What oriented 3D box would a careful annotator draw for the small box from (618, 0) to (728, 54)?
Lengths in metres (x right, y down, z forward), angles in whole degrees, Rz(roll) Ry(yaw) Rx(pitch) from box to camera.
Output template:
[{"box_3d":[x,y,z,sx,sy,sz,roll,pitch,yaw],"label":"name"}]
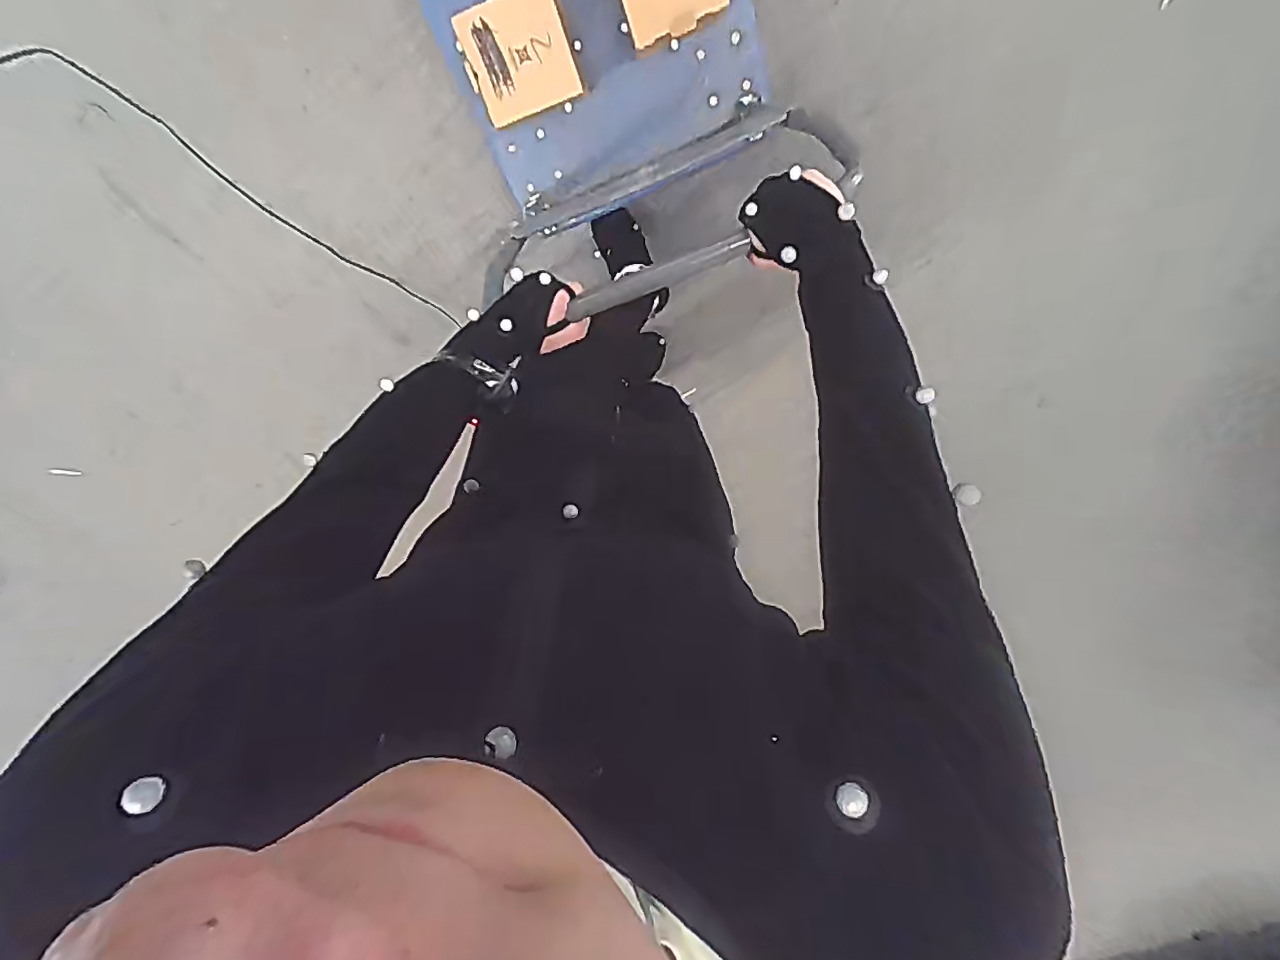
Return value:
[{"box_3d":[0.037,-0.871,0.925,0.168,0.176,0.179,-18,123,11],"label":"small box"}]
